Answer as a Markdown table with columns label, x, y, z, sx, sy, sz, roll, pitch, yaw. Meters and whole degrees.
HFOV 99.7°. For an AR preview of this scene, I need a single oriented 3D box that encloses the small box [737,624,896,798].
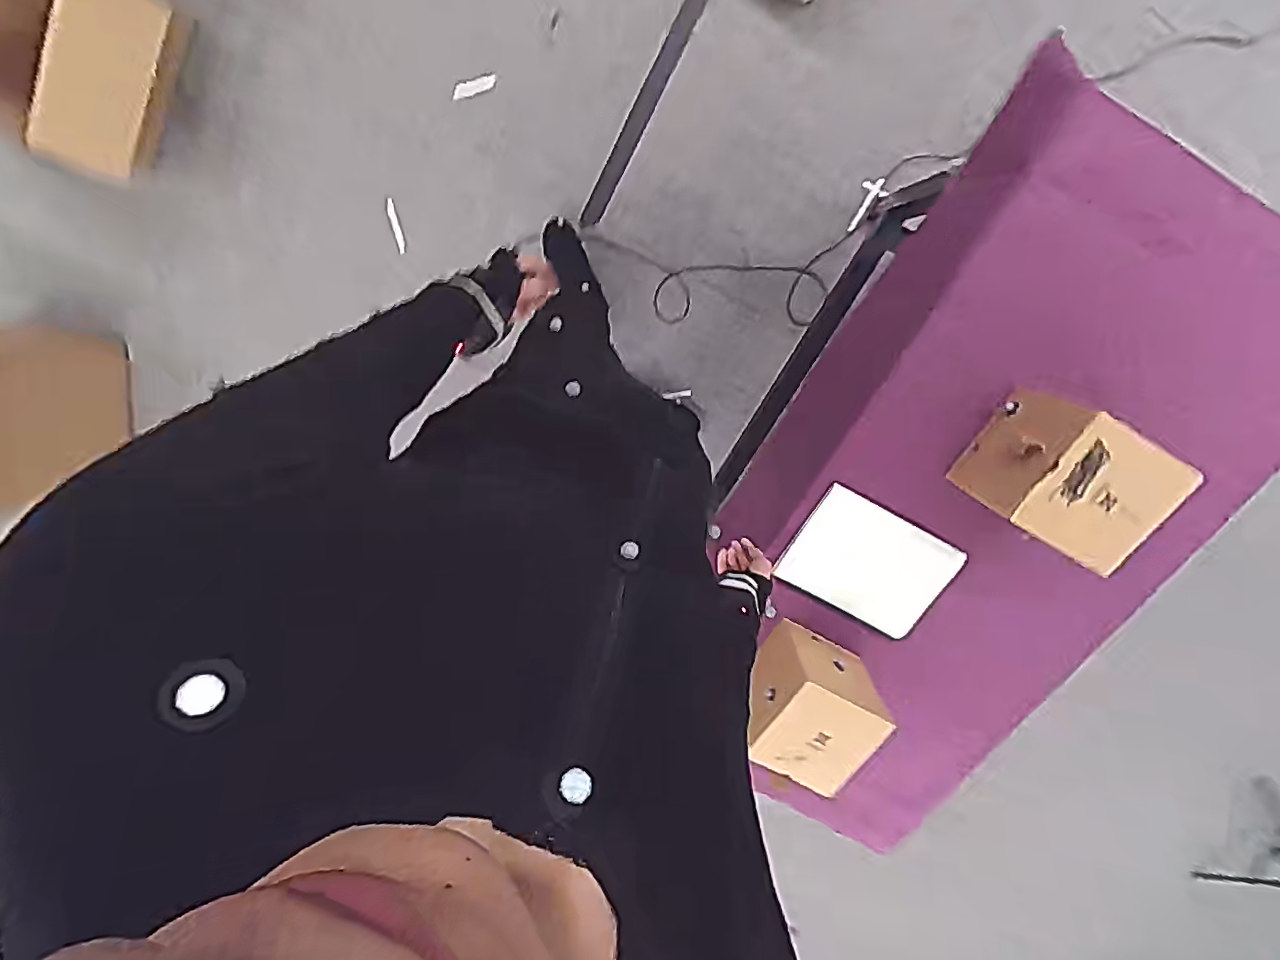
| label | x | y | z | sx | sy | sz | roll | pitch | yaw |
| --- | --- | --- | --- | --- | --- | --- | --- | --- | --- |
| small box | 0.280 | 0.376 | 0.907 | 0.168 | 0.176 | 0.179 | 30 | 108 | -8 |

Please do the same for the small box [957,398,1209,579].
| label | x | y | z | sx | sy | sz | roll | pitch | yaw |
| --- | --- | --- | --- | --- | --- | --- | --- | --- | --- |
| small box | 0.596 | 0.000 | 0.758 | 0.179 | 0.176 | 0.168 | 29 | 109 | -8 |
